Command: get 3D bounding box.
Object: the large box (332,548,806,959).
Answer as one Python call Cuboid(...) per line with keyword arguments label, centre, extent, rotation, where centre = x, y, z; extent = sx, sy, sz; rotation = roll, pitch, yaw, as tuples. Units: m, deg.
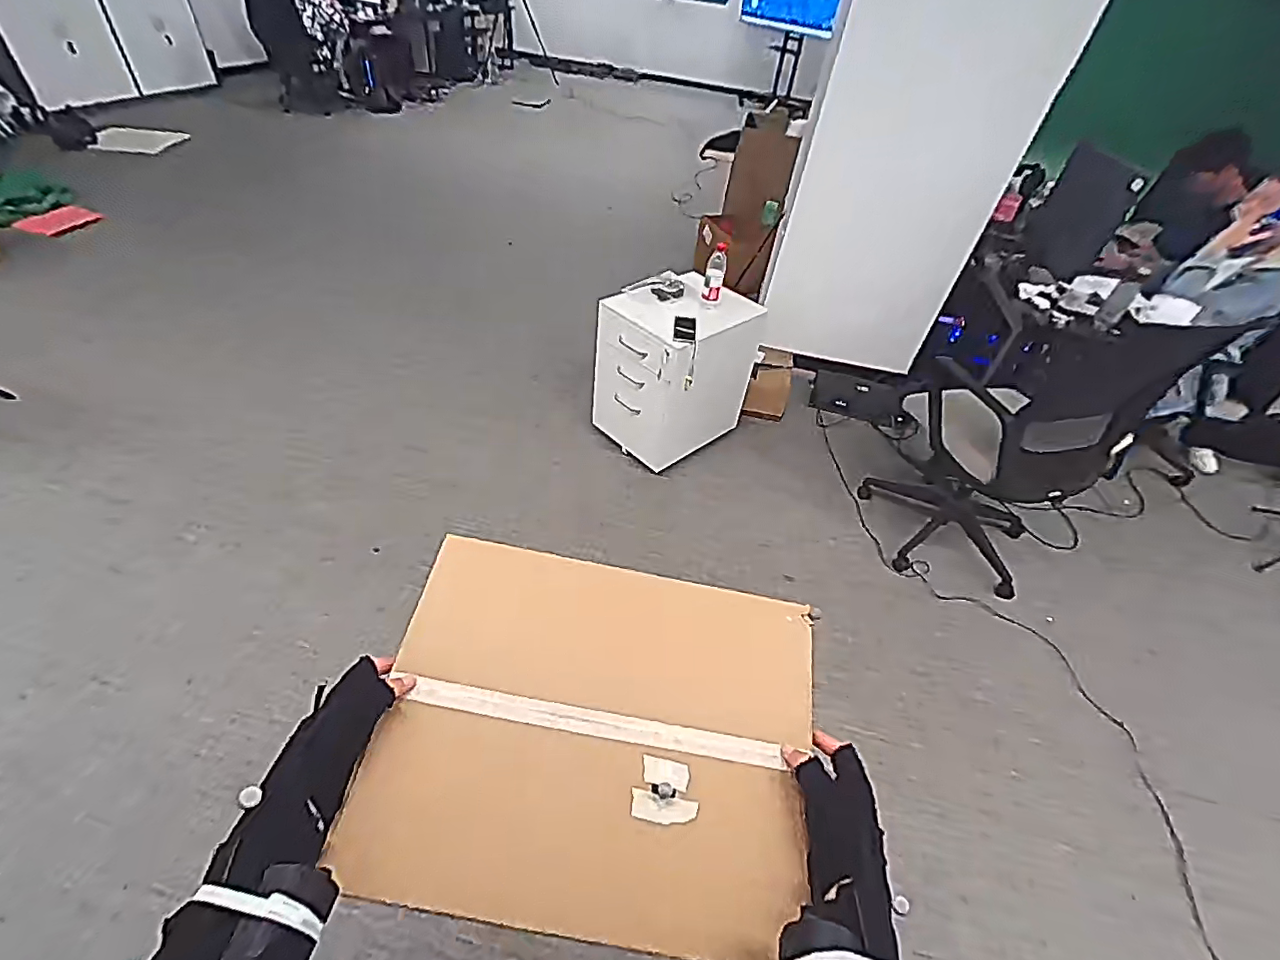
Cuboid(label="large box", centre=(-0.056, 0.313, 0.646), extent=(0.408, 0.320, 0.320), rotation=(11, 59, -1))
